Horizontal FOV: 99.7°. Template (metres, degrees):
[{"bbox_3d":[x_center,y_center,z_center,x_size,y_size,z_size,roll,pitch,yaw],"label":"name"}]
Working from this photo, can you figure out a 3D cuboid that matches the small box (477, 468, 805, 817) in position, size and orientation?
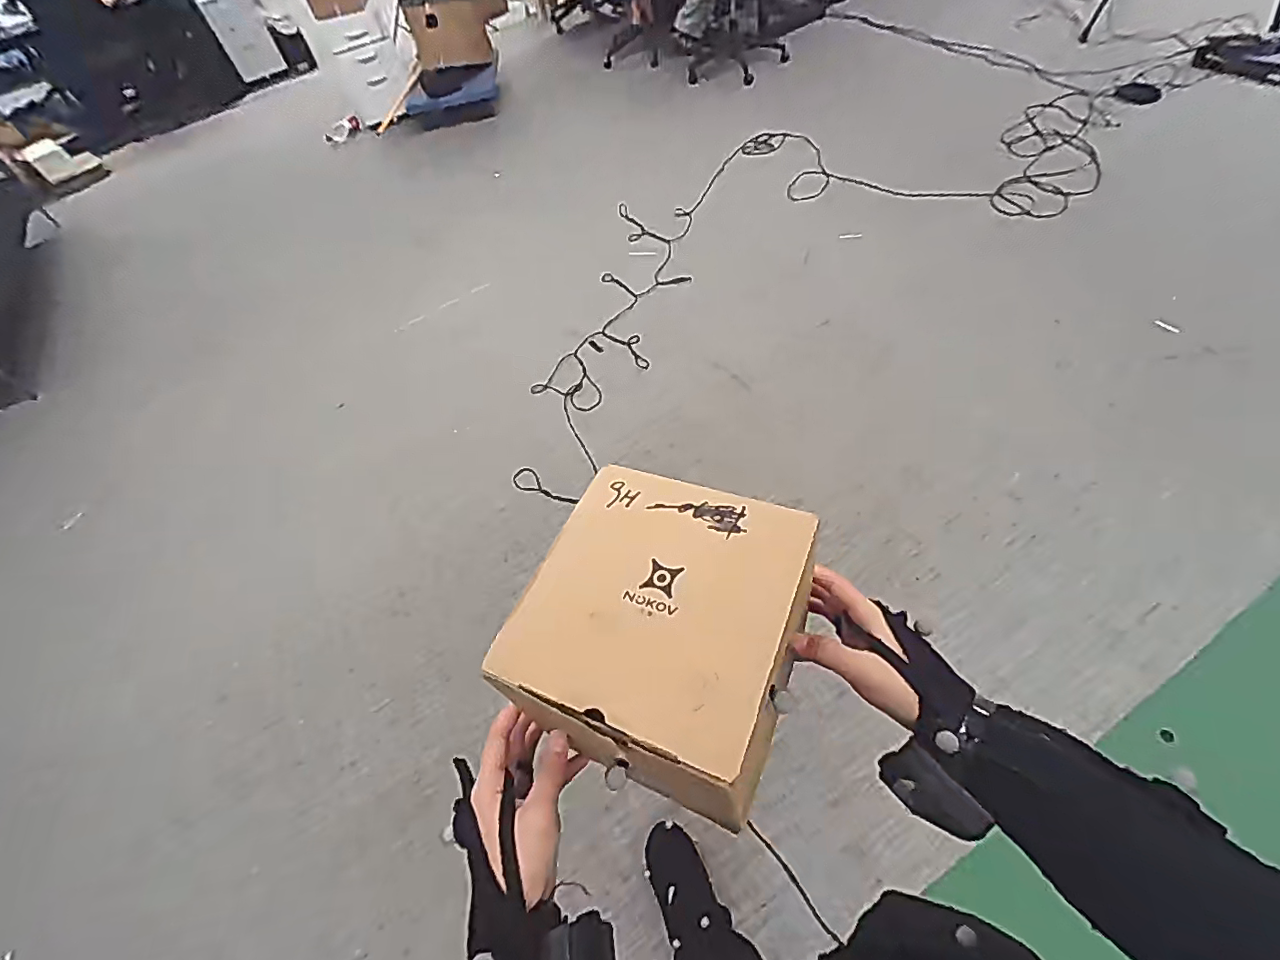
[{"bbox_3d":[0.019,0.123,0.408,0.168,0.176,0.179,15,57,23],"label":"small box"}]
